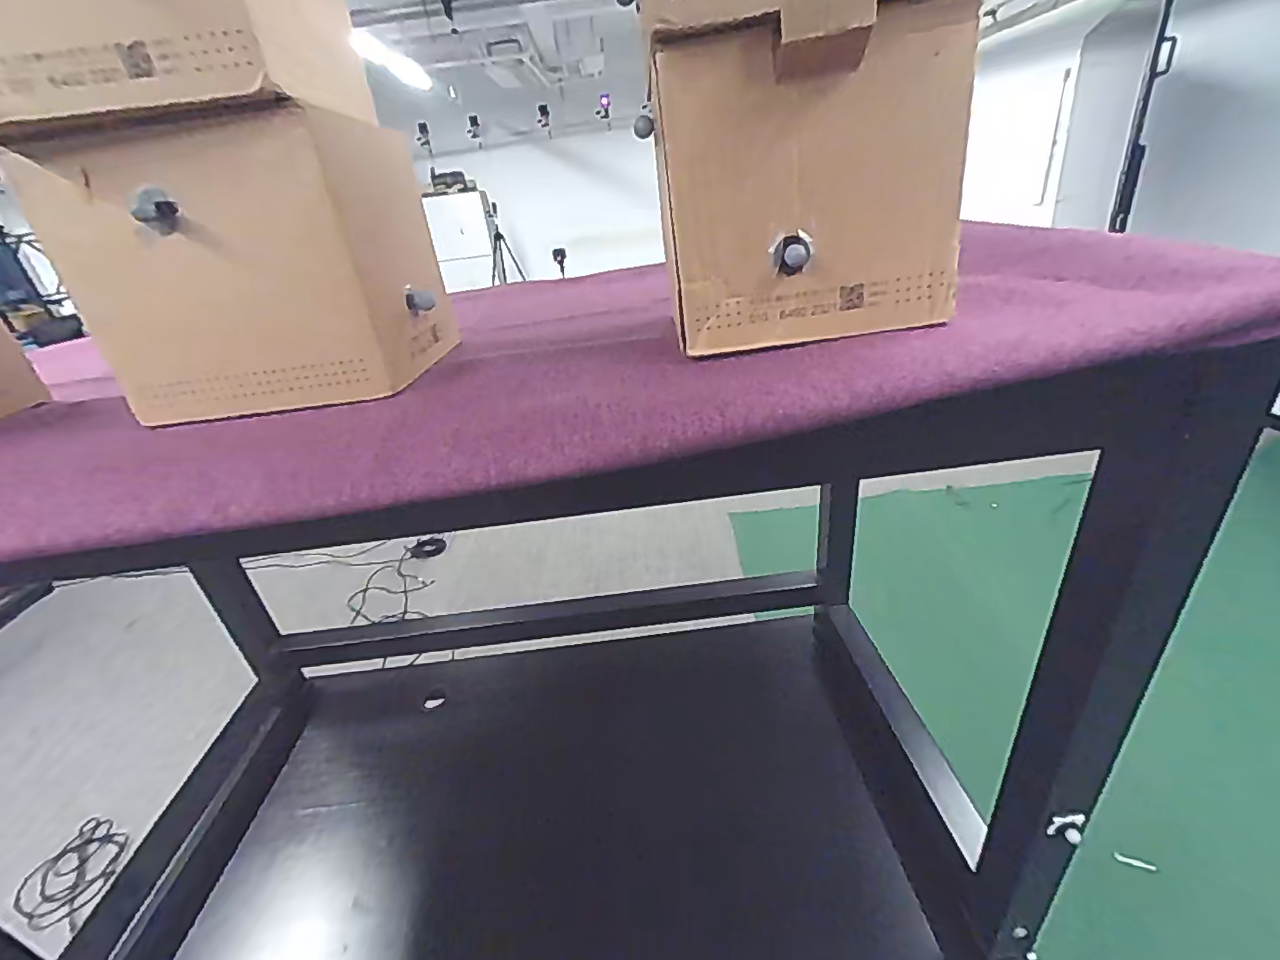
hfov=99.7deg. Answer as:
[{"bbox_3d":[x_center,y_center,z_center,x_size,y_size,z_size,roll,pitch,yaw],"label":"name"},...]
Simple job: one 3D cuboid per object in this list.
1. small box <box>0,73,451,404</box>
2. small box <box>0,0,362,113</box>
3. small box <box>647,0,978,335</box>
[{"bbox_3d":[-0.262,-0.161,0.389,0.179,0.176,0.168,-7,27,1],"label":"small box"},{"bbox_3d":[-0.287,-0.300,0.305,0.168,0.176,0.179,-9,28,-3],"label":"small box"},{"bbox_3d":[0.096,-0.205,0.375,0.168,0.176,0.179,-7,26,4],"label":"small box"}]
